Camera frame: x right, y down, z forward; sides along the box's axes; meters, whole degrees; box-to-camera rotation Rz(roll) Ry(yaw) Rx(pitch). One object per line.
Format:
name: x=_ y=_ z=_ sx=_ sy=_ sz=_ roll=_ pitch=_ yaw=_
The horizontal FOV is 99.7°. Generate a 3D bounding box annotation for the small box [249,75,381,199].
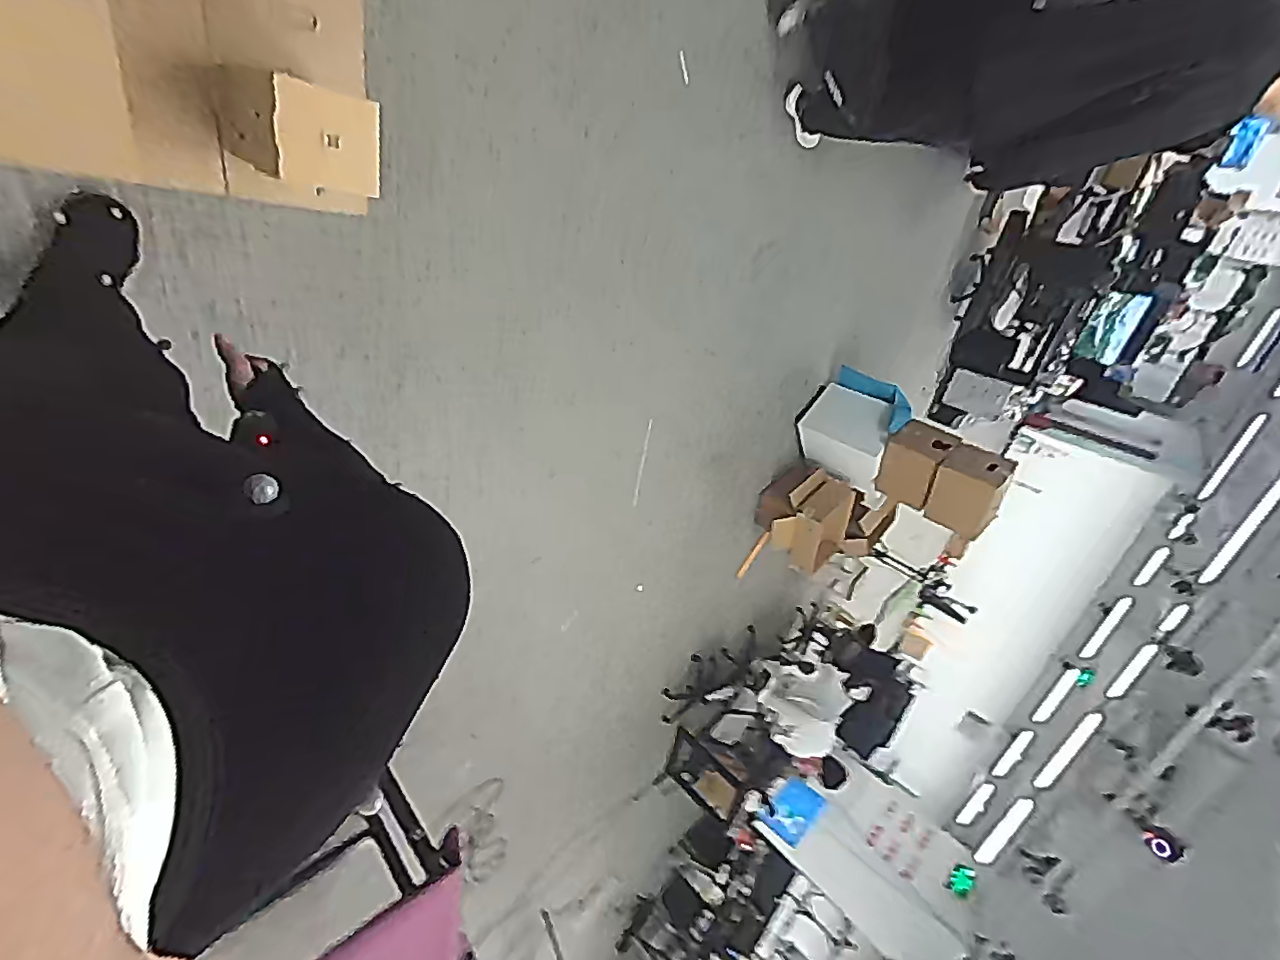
small box: x=-0.622 y=-0.659 z=1.040 sx=0.179 sy=0.176 sz=0.168 roll=-14 pitch=127 yaw=-42

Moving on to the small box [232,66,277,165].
small box: x=-0.731 y=-0.735 z=1.131 sx=0.179 sy=0.176 sz=0.168 roll=-14 pitch=126 yaw=-44
